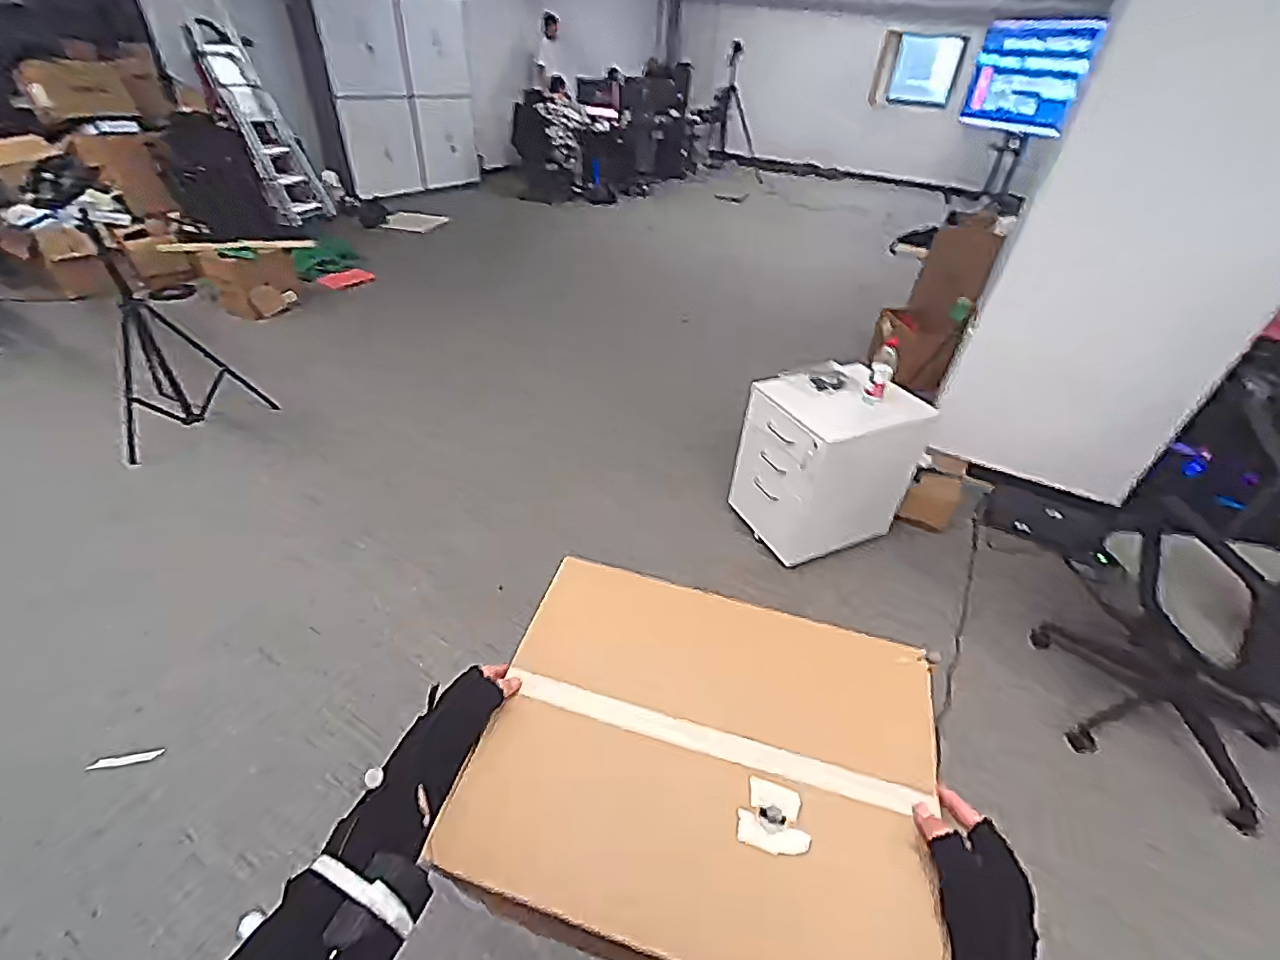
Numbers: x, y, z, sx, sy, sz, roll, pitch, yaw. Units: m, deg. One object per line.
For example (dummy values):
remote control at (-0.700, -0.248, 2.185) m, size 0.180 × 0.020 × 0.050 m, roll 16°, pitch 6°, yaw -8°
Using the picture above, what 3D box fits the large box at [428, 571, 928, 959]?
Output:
large box at (0.047, 0.355, 0.615) m, size 0.408 × 0.320 × 0.320 m, roll 13°, pitch 47°, yaw 9°
